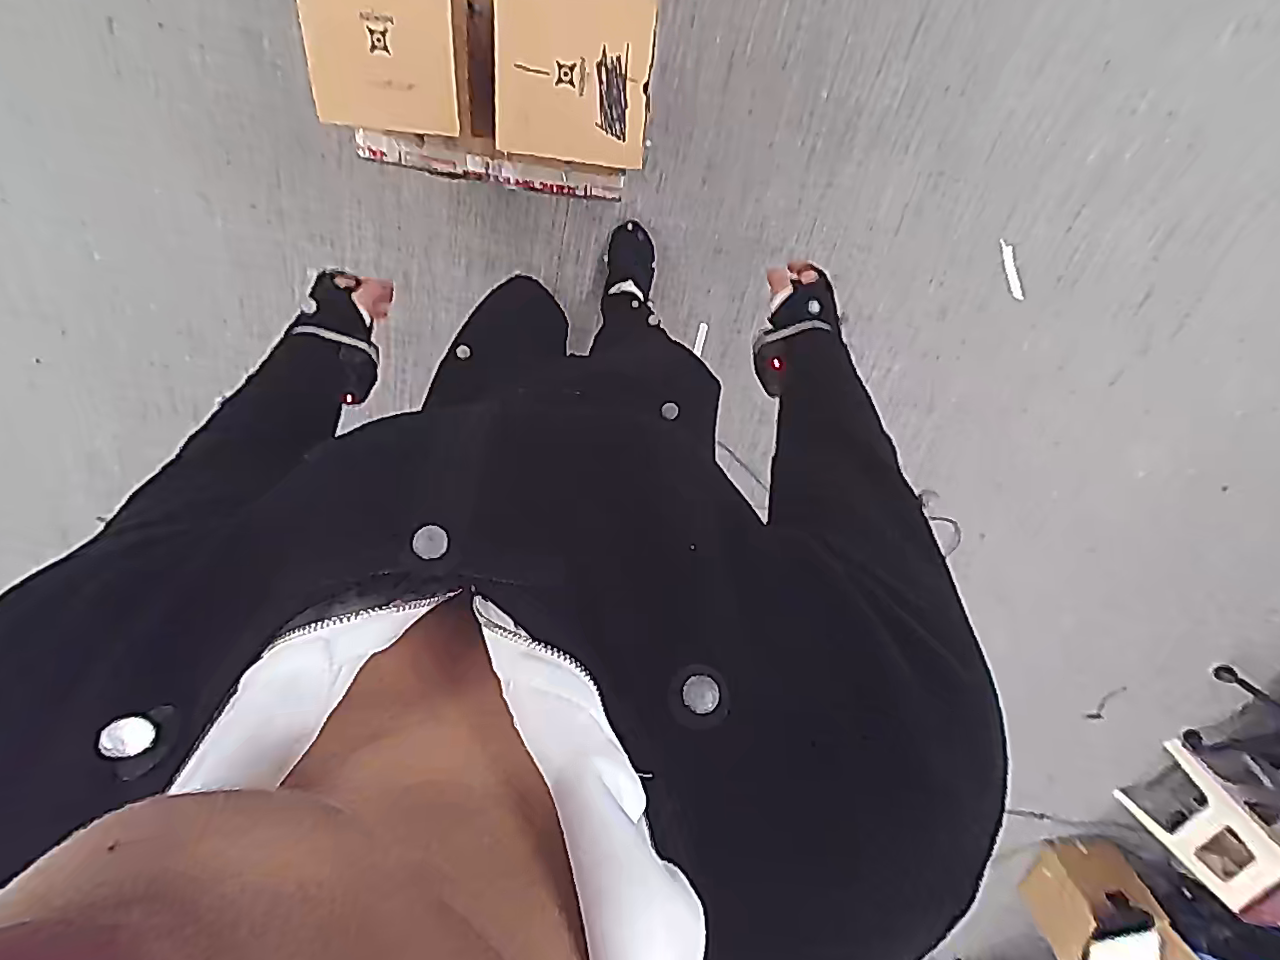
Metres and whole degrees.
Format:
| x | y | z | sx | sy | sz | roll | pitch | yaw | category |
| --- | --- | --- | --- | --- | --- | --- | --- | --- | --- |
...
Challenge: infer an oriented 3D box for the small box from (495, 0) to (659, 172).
| x | y | z | sx | sy | sz | roll | pitch | yaw | category |
| --- | --- | --- | --- | --- | --- | --- | --- | --- | --- |
| -0.078 | -0.494 | 0.677 | 0.179 | 0.176 | 0.168 | 6 | 120 | -5 | small box |

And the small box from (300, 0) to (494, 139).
| x | y | z | sx | sy | sz | roll | pitch | yaw | category |
| --- | --- | --- | --- | --- | --- | --- | --- | --- | --- |
| -0.282 | -0.526 | 0.657 | 0.168 | 0.176 | 0.179 | 4 | 122 | -1 | small box |
